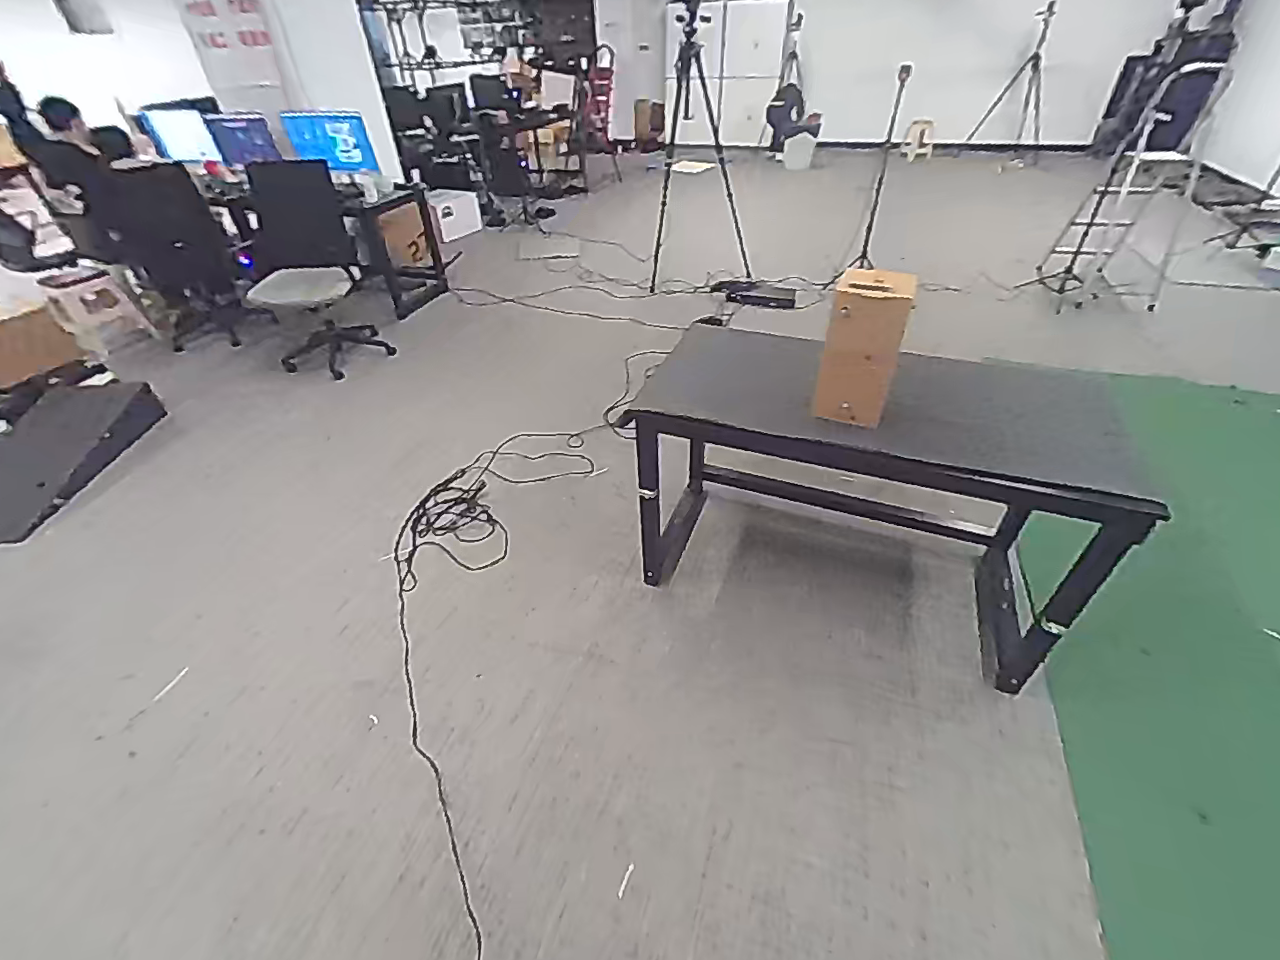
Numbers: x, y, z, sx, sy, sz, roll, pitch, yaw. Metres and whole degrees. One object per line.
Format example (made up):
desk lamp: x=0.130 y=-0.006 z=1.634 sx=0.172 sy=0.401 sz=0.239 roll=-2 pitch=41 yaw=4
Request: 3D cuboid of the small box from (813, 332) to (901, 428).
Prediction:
small box: x=0.555 y=-0.260 z=1.395 sx=0.168 sy=0.176 sz=0.179 roll=16 pitch=42 yaw=22
